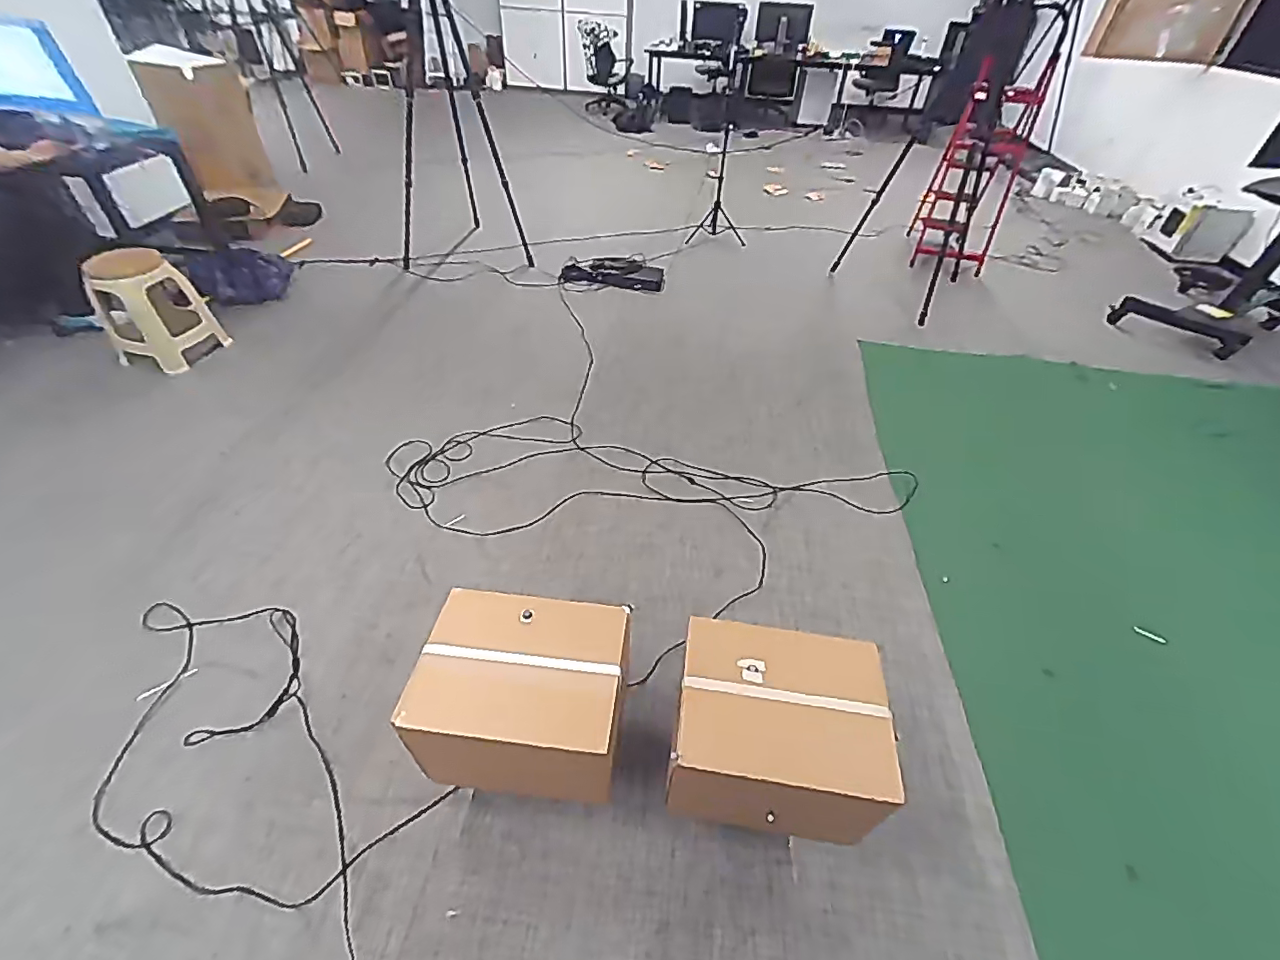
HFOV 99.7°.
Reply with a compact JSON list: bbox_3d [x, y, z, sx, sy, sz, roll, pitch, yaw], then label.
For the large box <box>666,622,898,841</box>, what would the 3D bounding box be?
[{"bbox_3d":[0.280,0.548,1.178,0.408,0.320,0.320,8,44,5],"label":"large box"}]
